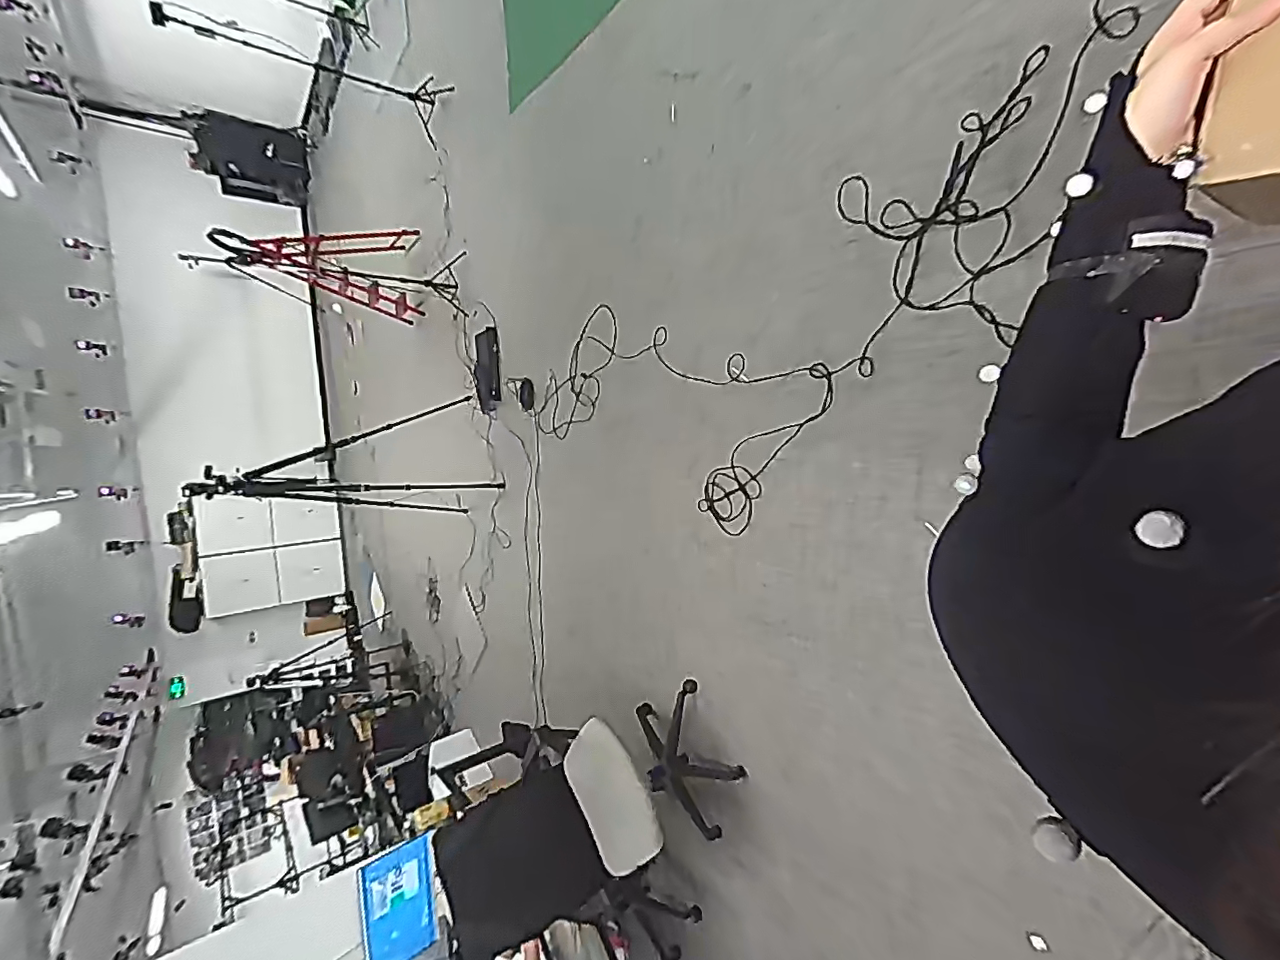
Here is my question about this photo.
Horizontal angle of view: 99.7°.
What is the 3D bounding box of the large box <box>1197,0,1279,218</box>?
[{"bbox_3d":[0.637,-0.349,0.280,0.408,0.320,0.320,19,115,53],"label":"large box"}]
